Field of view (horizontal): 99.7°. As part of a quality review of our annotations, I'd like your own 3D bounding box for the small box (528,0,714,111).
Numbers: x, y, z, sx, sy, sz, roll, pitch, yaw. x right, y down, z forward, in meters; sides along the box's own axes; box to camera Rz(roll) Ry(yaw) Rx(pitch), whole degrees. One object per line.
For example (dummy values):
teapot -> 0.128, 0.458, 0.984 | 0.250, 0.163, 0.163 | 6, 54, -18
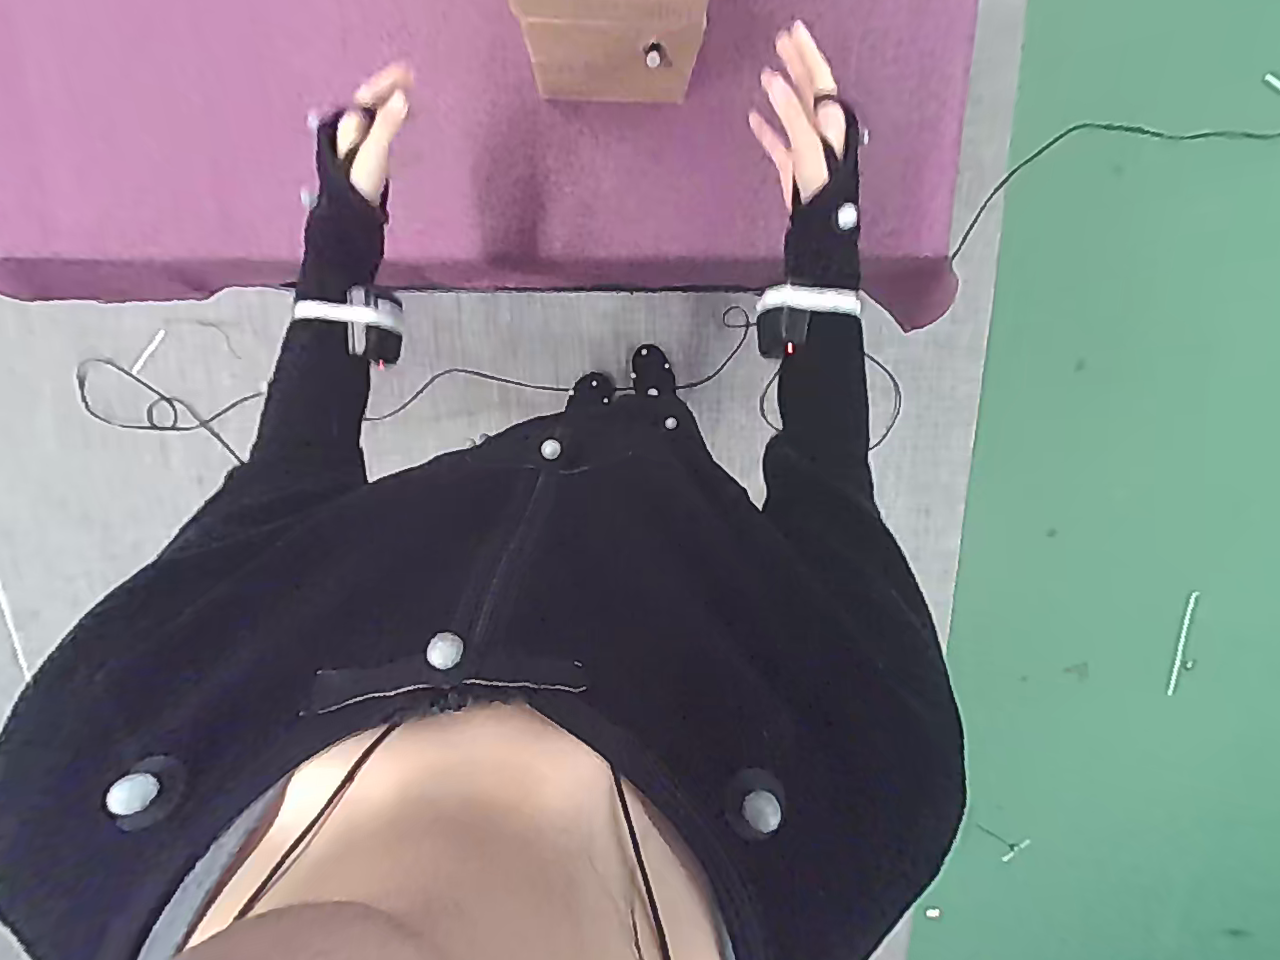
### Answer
small box -> -0.020, -0.517, 0.569 | 0.179, 0.176, 0.168 | 0, 103, -3
